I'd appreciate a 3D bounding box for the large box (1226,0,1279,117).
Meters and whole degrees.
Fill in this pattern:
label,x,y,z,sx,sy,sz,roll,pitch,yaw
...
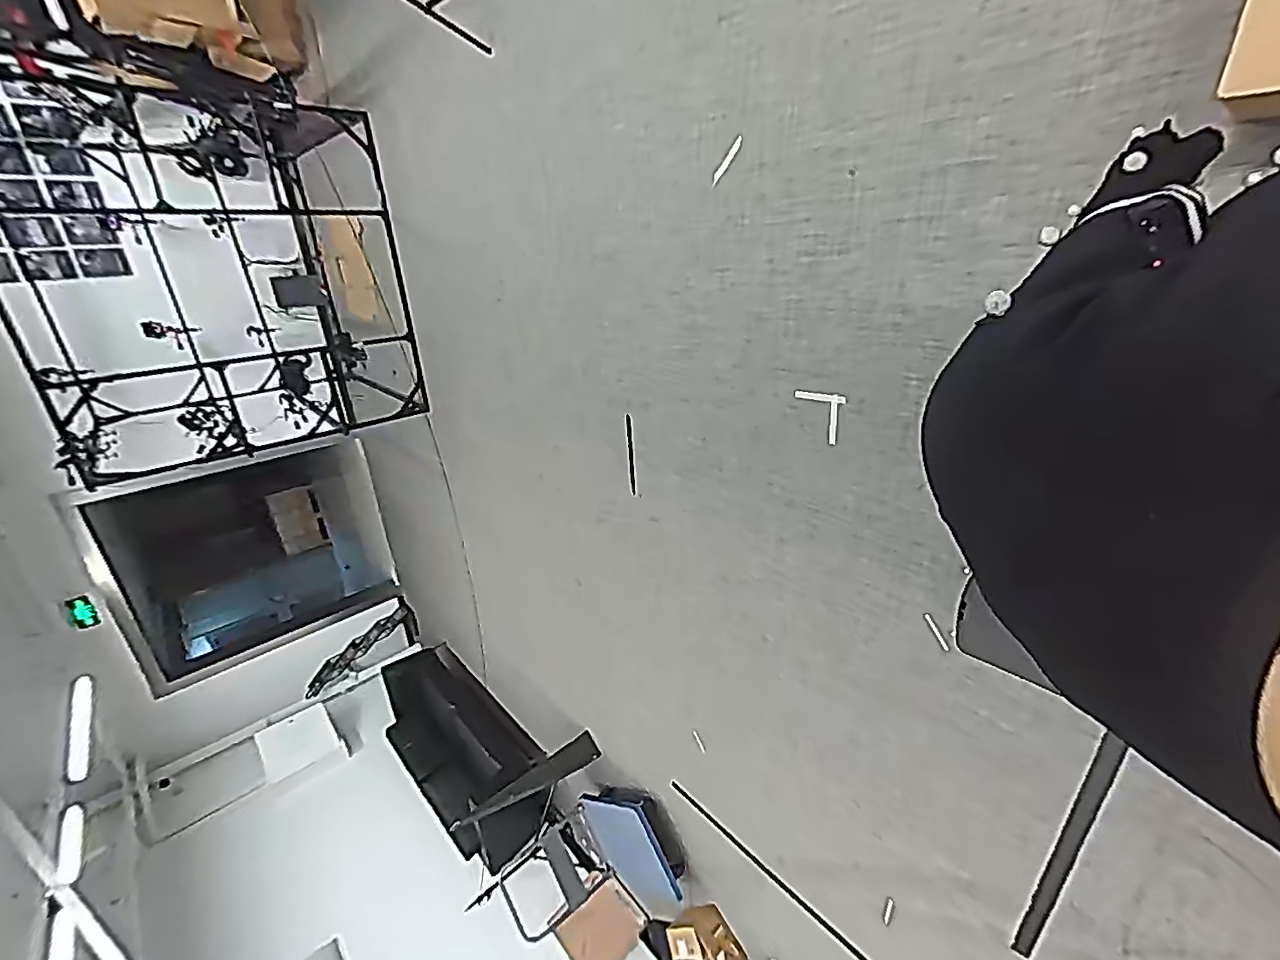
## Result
label,x,y,z,sx,sy,sz,roll,pitch,yaw
large box,1.043,-0.671,0.648,0.408,0.320,0.320,21,124,43
